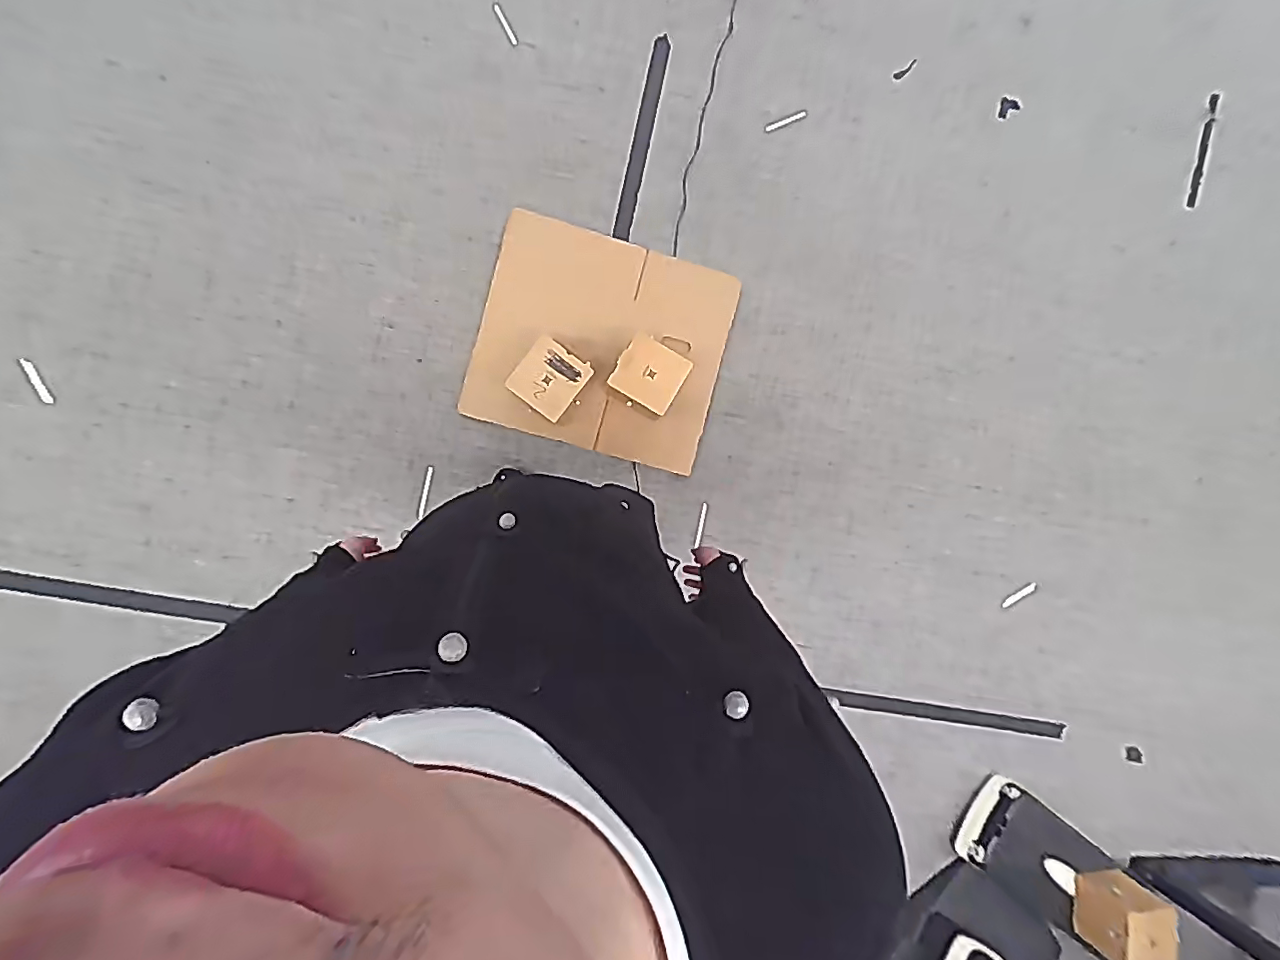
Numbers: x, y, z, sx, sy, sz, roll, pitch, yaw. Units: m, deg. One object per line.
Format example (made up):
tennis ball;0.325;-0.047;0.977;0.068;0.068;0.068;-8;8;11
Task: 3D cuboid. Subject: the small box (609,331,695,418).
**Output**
small box;0.029;-0.286;1.513;0.179;0.176;0.168;30;89;-3
